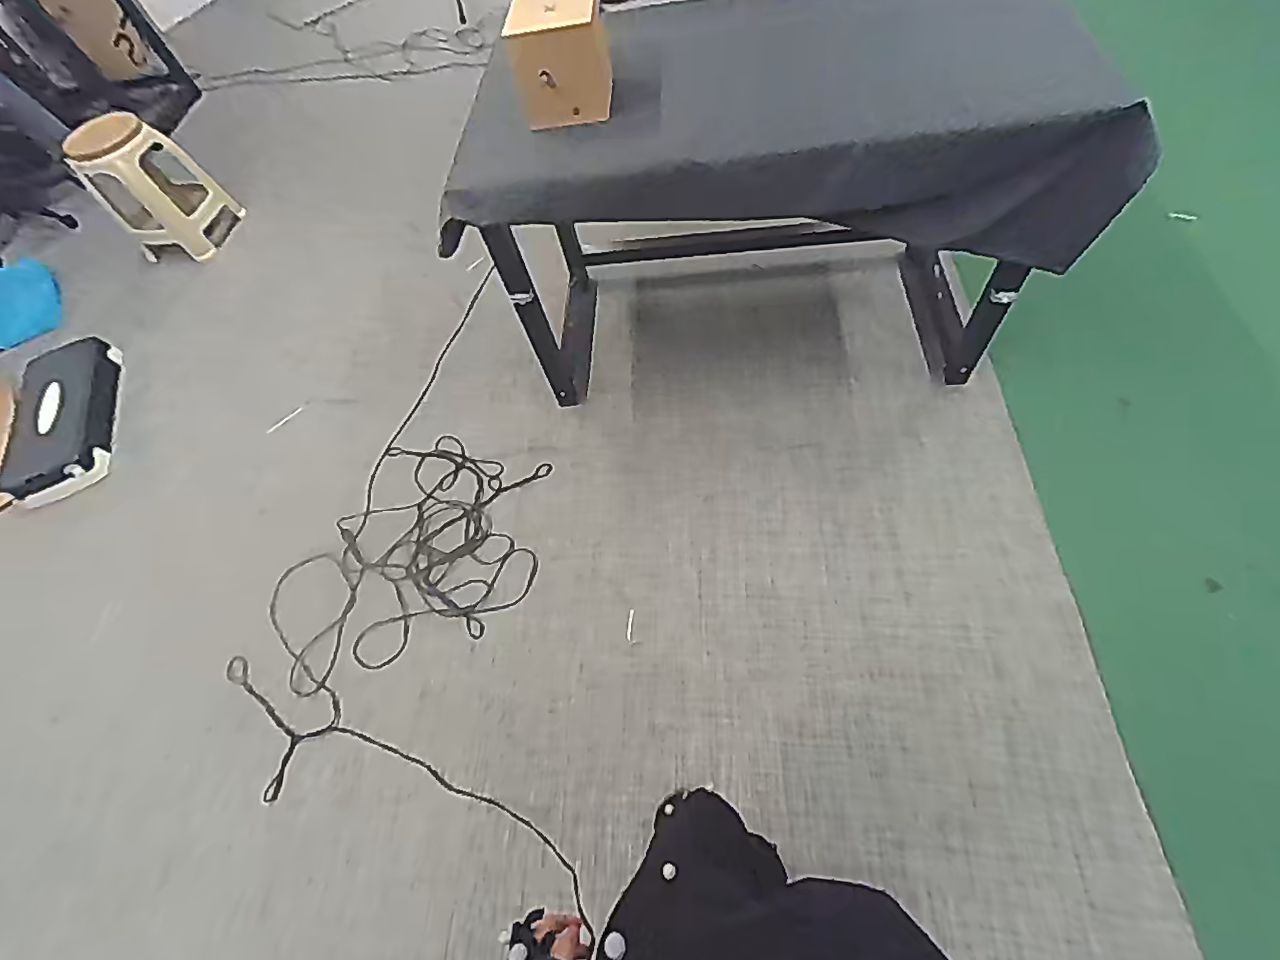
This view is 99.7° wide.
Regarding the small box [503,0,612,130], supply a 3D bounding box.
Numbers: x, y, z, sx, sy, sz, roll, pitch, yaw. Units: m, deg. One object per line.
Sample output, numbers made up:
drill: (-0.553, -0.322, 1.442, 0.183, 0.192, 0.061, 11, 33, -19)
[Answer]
small box: (-0.153, -0.819, 1.068, 0.168, 0.176, 0.179, -3, 59, 7)
